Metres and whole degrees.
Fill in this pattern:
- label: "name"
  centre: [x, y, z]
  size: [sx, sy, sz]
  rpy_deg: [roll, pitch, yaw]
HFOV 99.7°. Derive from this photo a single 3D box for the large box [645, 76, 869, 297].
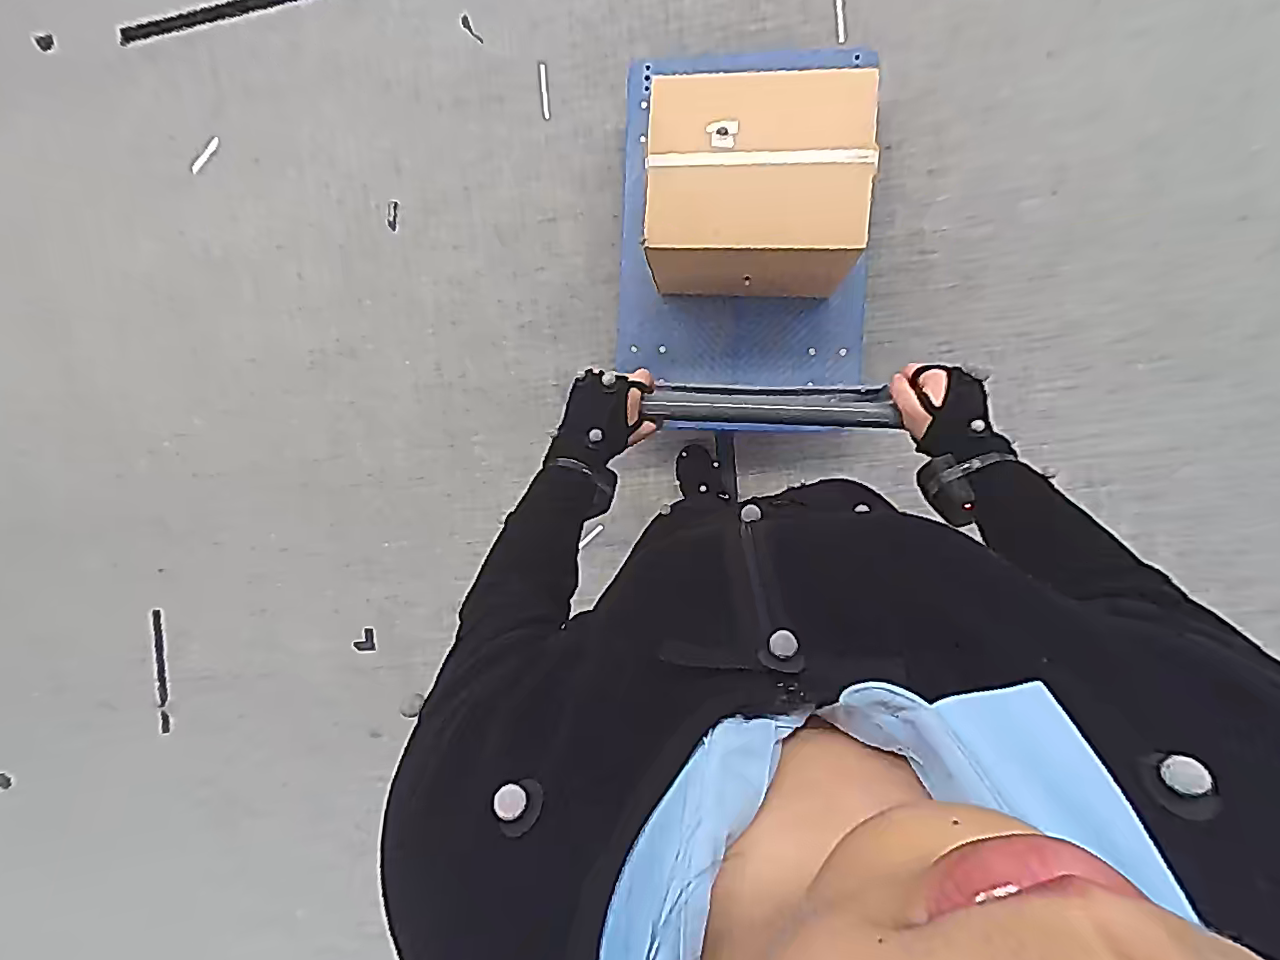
- label: "large box"
  centre: [0.234, -0.586, 1.149]
  size: [0.408, 0.320, 0.320]
  rpy_deg: [3, 92, 9]
